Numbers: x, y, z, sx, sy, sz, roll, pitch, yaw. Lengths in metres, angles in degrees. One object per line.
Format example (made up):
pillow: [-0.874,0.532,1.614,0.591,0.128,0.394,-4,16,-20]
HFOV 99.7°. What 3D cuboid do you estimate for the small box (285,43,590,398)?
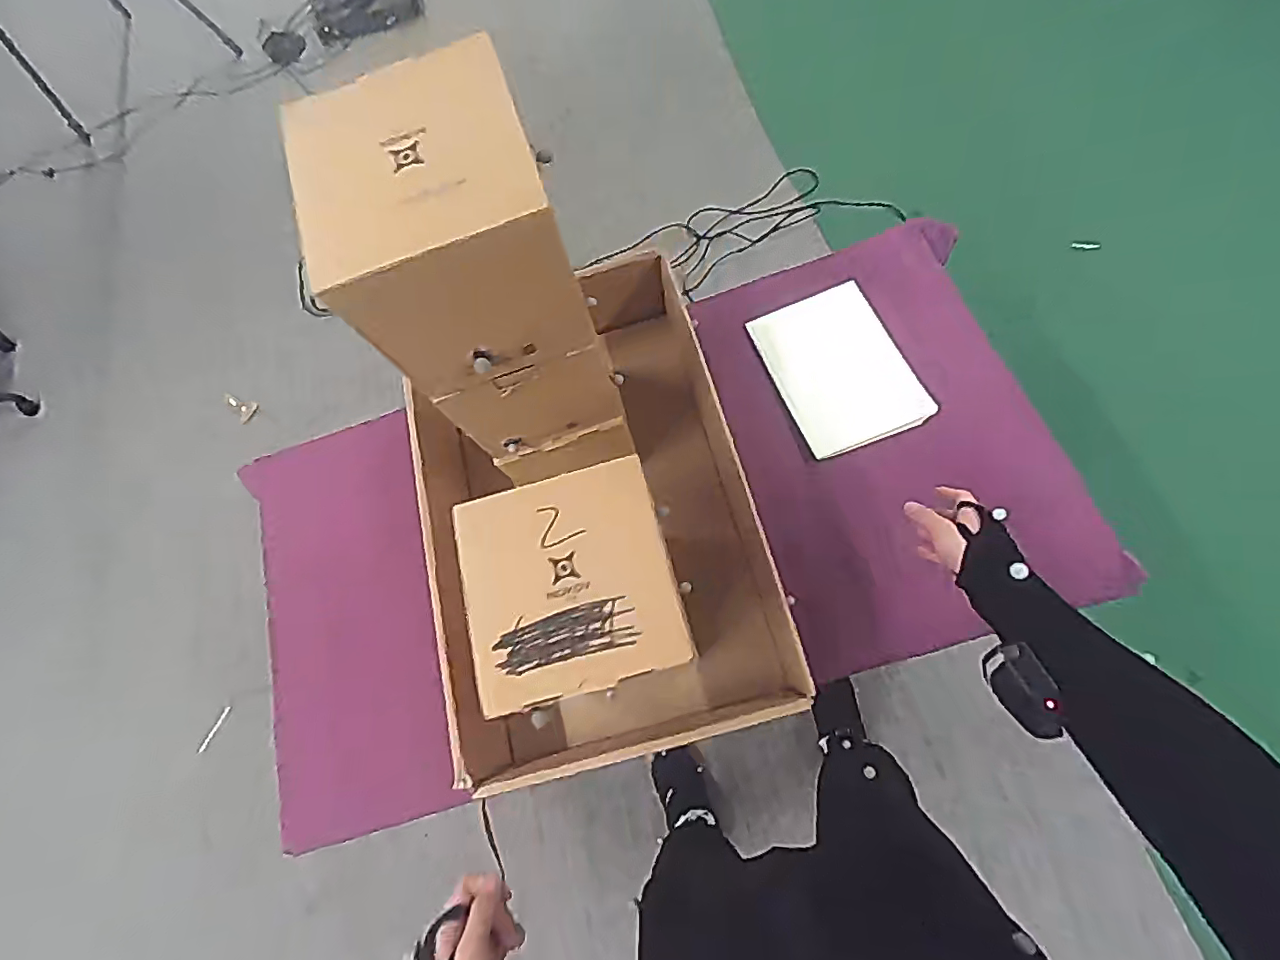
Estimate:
small box: [-0.153,-0.198,0.450,0.168,0.176,0.179,-19,73,1]

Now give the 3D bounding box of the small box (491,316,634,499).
small box: [-0.115,-0.094,0.758,0.168,0.176,0.179,-18,72,1]

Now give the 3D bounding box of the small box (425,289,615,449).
small box: [-0.136,-0.150,0.605,0.168,0.176,0.179,-19,71,1]
